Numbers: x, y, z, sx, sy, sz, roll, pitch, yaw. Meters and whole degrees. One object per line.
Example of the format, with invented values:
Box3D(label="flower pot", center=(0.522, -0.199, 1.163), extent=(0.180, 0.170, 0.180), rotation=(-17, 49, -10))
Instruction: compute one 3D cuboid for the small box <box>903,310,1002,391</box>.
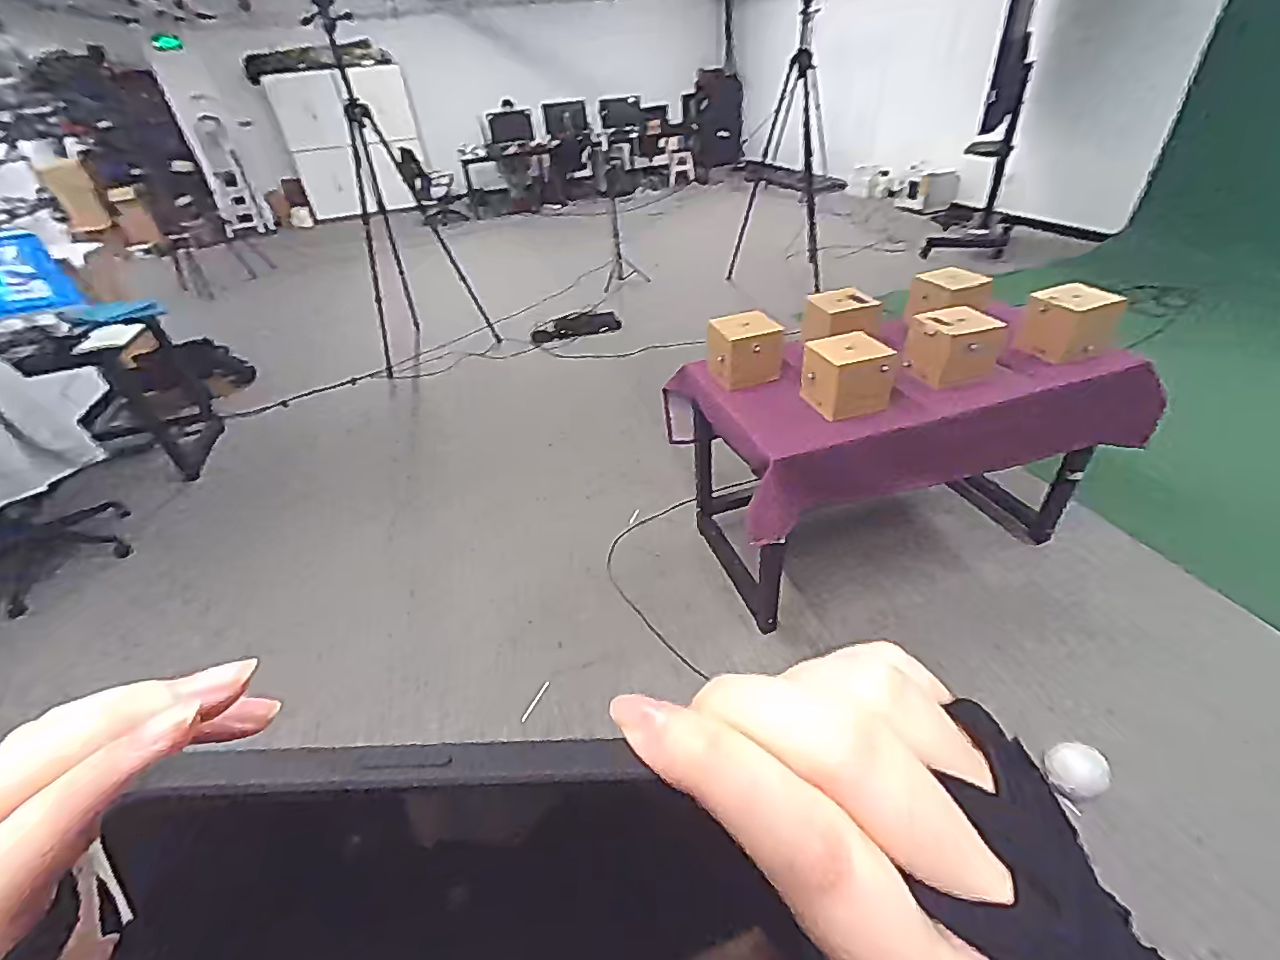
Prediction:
Box3D(label="small box", center=(0.888, -0.372, 1.561), extent=(0.179, 0.176, 0.168), rotation=(-12, 37, -9))

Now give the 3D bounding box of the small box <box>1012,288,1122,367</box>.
Box3D(label="small box", center=(1.265, -0.457, 1.618), extent=(0.179, 0.176, 0.168), rotation=(-15, 37, -12))

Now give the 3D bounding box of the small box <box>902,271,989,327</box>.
Box3D(label="small box", center=(1.021, -0.588, 1.824), extent=(0.168, 0.176, 0.179), rotation=(-16, 39, -13))

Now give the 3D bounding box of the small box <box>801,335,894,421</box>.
Box3D(label="small box", center=(0.557, -0.277, 1.483), extent=(0.179, 0.176, 0.168), rotation=(-13, 37, -11))
